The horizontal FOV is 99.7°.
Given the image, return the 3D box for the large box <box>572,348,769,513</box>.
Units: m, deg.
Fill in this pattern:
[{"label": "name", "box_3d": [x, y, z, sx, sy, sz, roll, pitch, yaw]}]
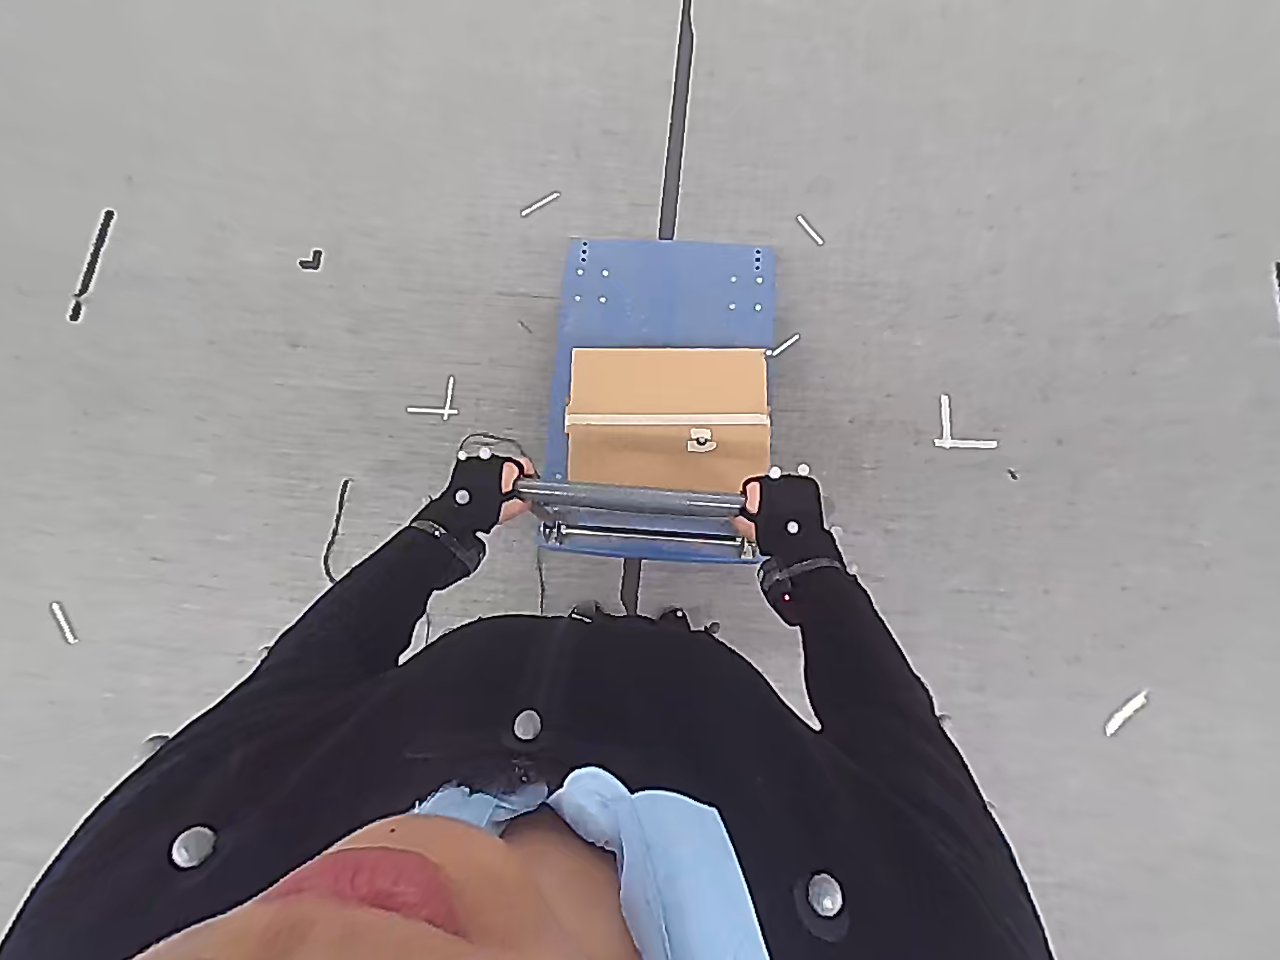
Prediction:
[{"label": "large box", "box_3d": [0.061, -0.098, 1.254, 0.408, 0.320, 0.320, 1, 80, 1]}]
